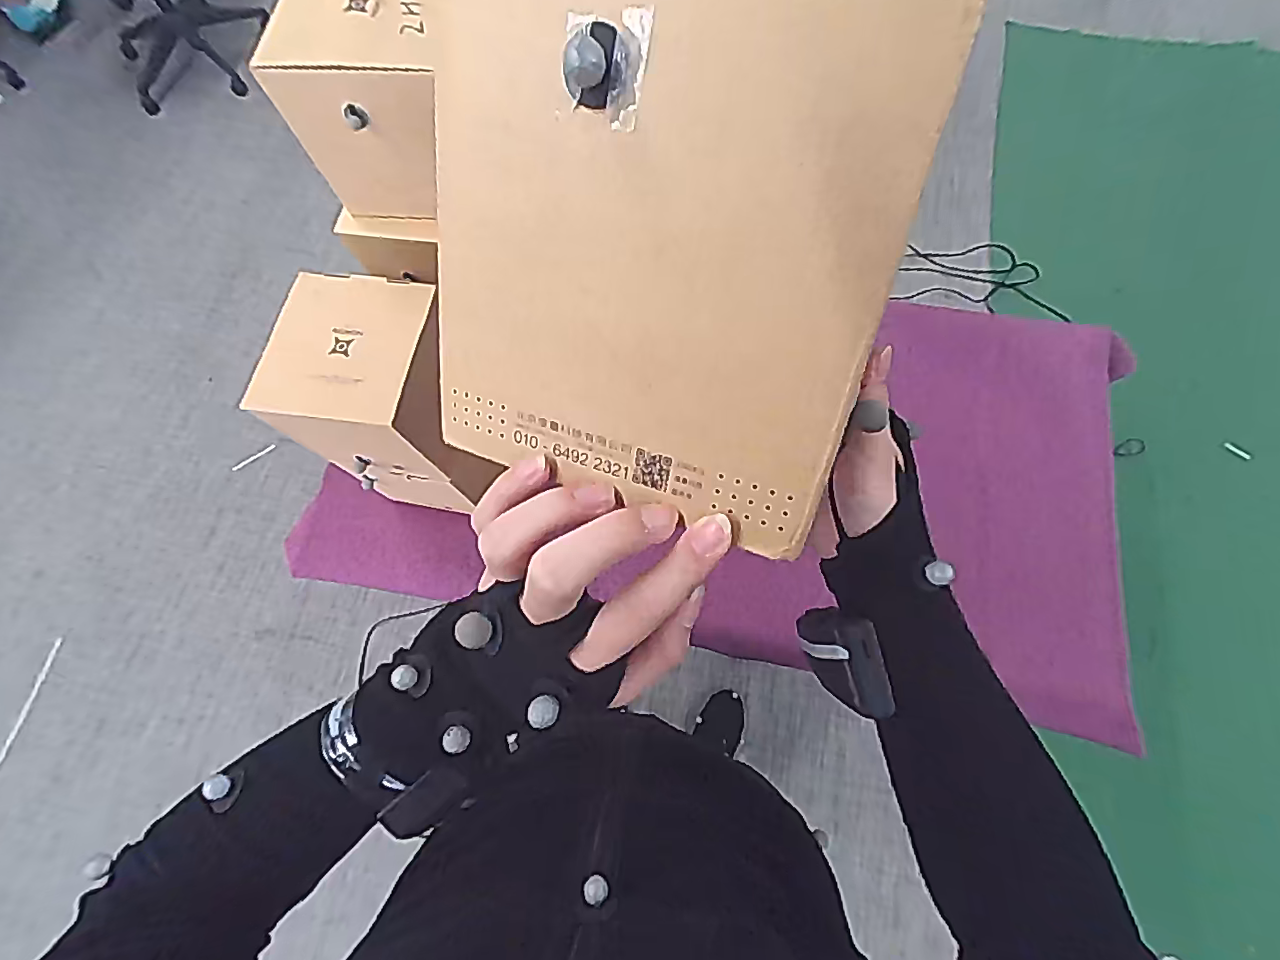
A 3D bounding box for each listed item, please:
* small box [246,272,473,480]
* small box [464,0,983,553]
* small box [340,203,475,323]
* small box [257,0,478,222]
[{"bbox_3d":[-0.310,-0.117,0.651,0.168,0.176,0.179,8,71,5],"label":"small box"},{"bbox_3d":[0.032,-0.094,0.261,0.168,0.179,0.176,19,118,18],"label":"small box"},{"bbox_3d":[-0.254,-0.326,0.722,0.168,0.176,0.179,7,71,5],"label":"small box"},{"bbox_3d":[-0.244,-0.402,0.574,0.179,0.176,0.168,4,71,3],"label":"small box"}]
